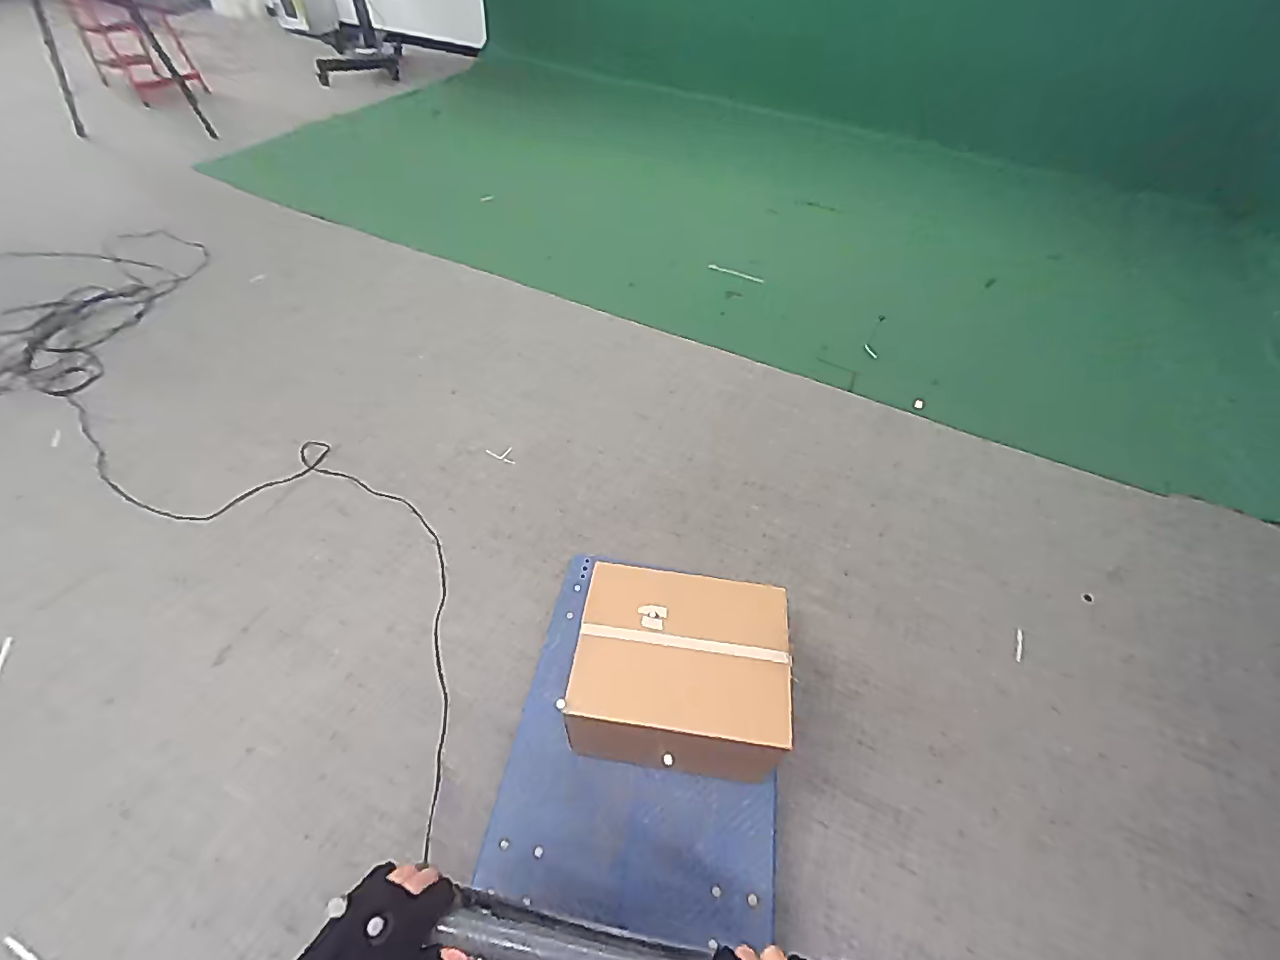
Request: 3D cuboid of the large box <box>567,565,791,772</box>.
[{"bbox_3d":[0.081,0.409,1.158,0.408,0.320,0.320,6,50,3],"label":"large box"}]
